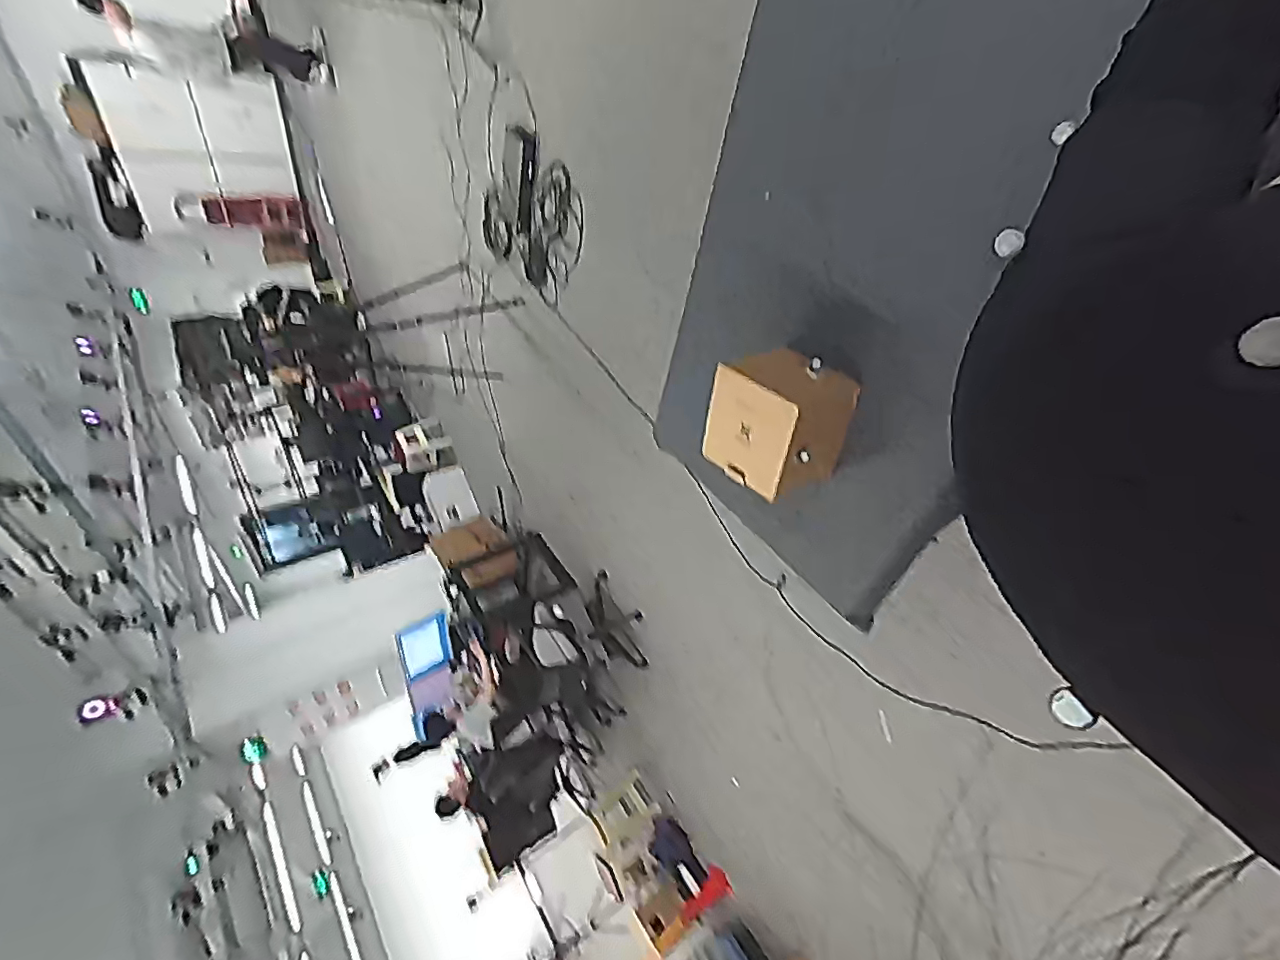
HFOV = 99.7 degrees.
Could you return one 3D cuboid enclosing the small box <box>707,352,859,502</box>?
[{"bbox_3d":[0.238,-0.096,0.912,0.168,0.176,0.179,38,136,38],"label":"small box"}]
